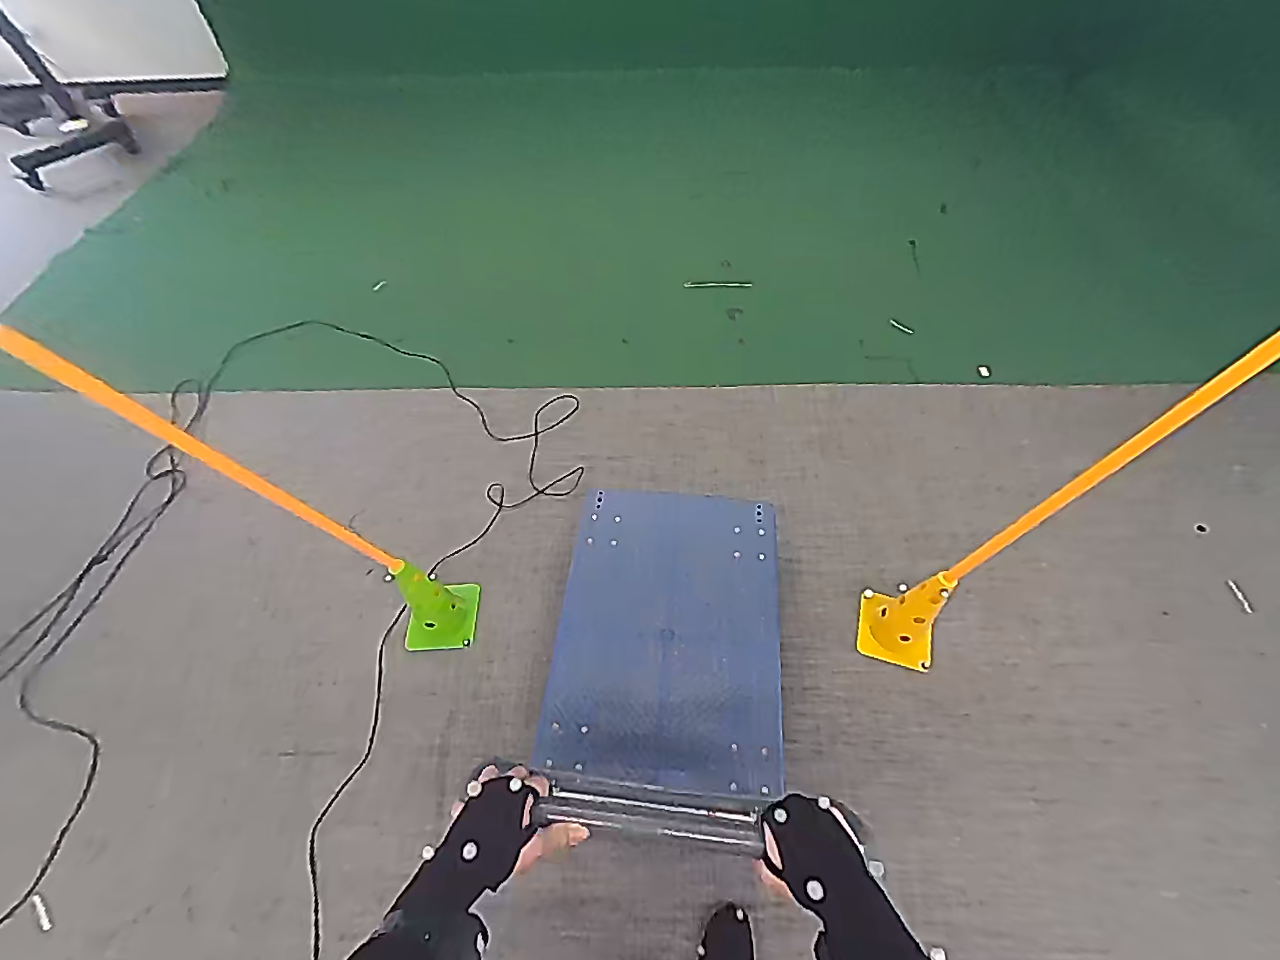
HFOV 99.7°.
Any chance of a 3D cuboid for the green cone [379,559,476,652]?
[{"bbox_3d":[-0.605,0.309,1.469,0.202,0.368,0.200,-4,55,1],"label":"green cone"}]
